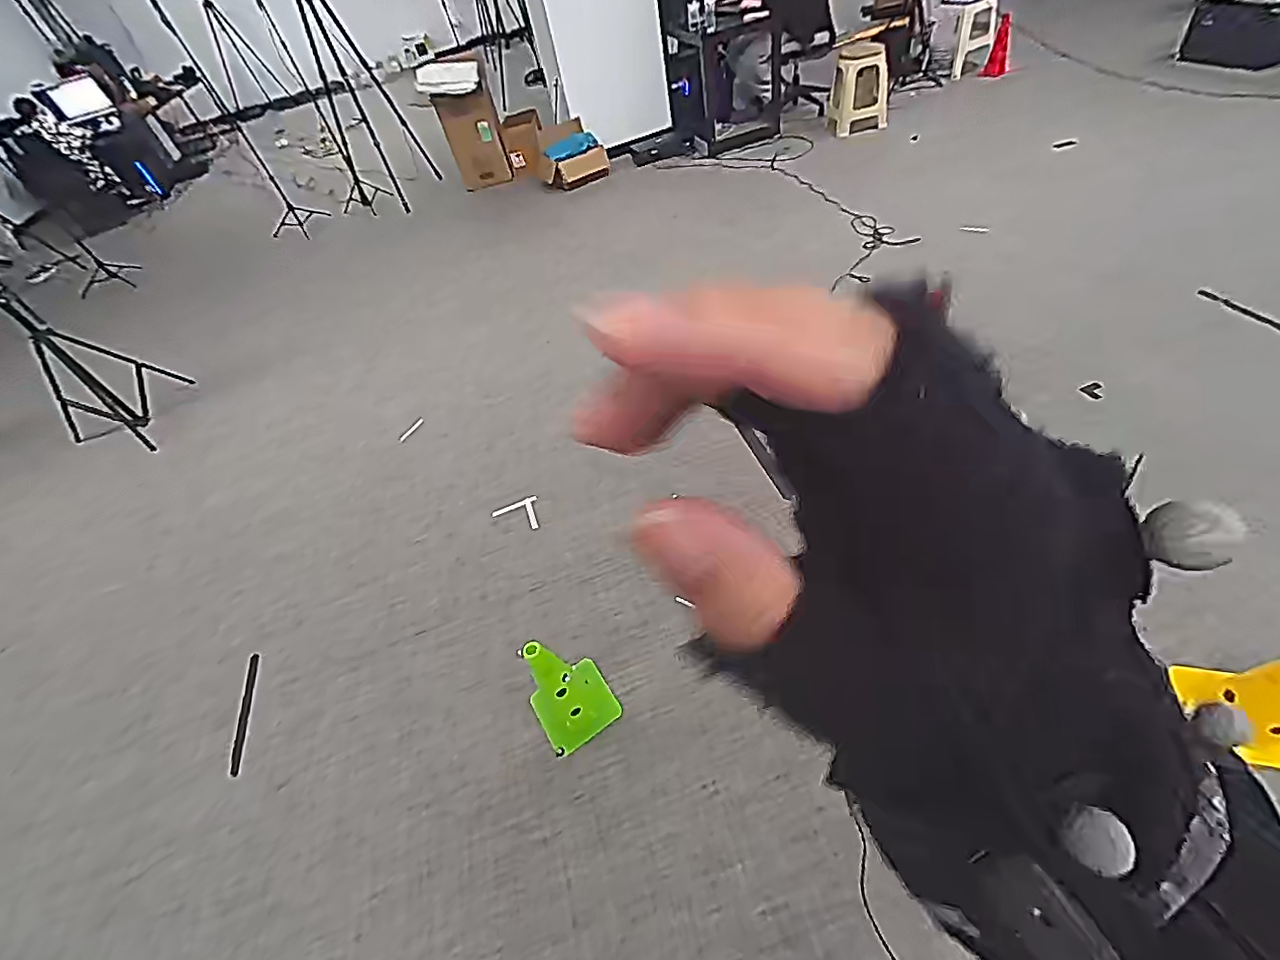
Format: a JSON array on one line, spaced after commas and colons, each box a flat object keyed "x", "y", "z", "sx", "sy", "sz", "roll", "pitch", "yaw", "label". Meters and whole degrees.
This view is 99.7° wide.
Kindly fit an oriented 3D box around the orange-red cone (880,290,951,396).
[{"x": 1.018, "y": -0.510, "z": 1.941, "sx": 0.198, "sy": 0.360, "sz": 0.199, "roll": -15, "pitch": 47, "yaw": 1, "label": "orange-red cone"}]

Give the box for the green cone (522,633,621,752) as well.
[{"x": -0.207, "y": 0.486, "z": 1.342, "sx": 0.200, "sy": 0.368, "sz": 0.202, "roll": -32, "pitch": 47, "yaw": -15, "label": "green cone"}]
